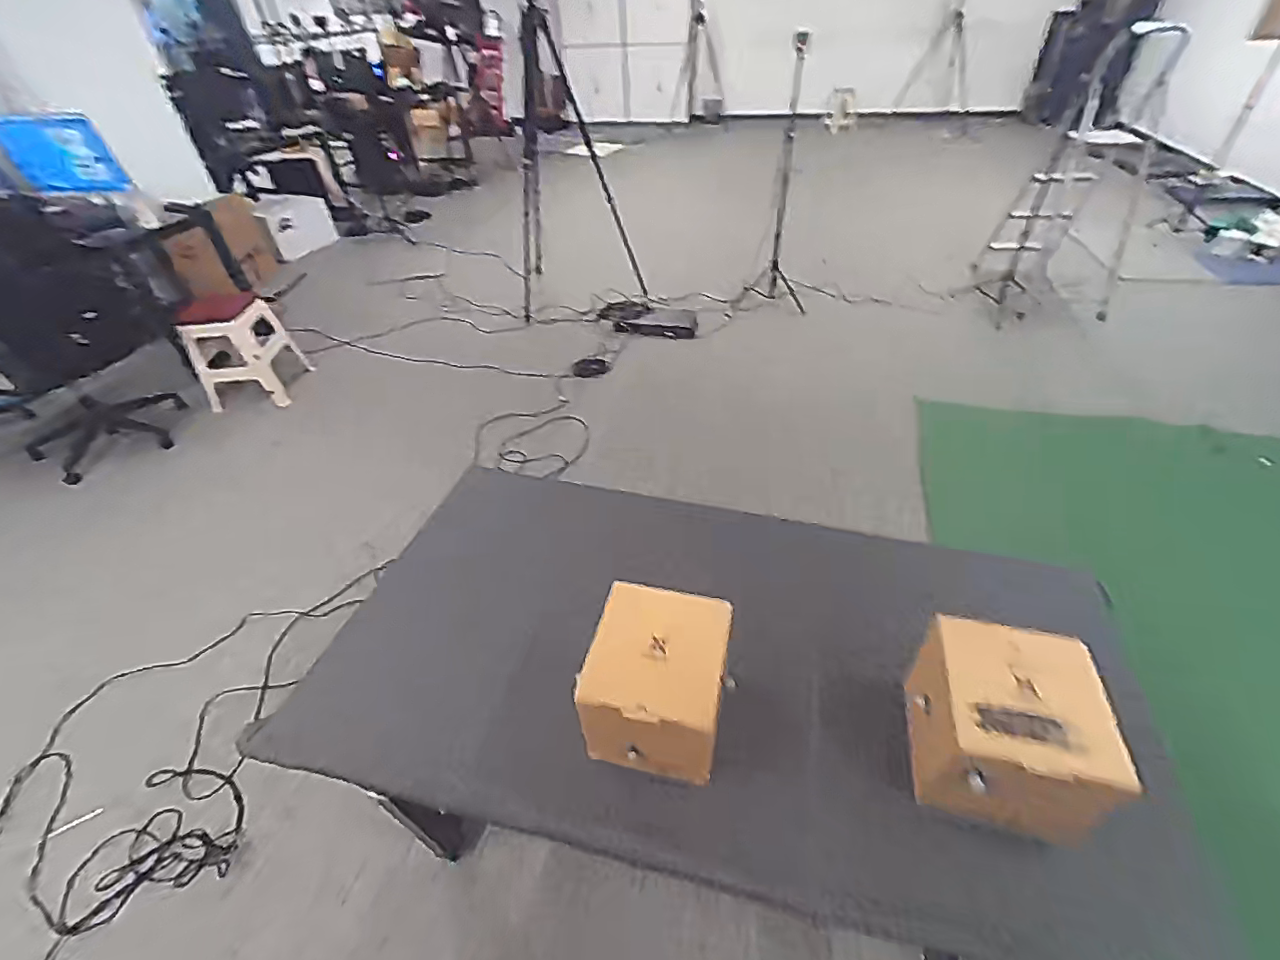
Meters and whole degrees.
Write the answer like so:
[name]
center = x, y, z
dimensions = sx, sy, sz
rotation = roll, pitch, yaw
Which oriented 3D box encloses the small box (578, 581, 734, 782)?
[small box]
center = 0.026, 0.269, 0.728
dimensions = 0.168, 0.176, 0.179
rotation = 9, 44, 12
